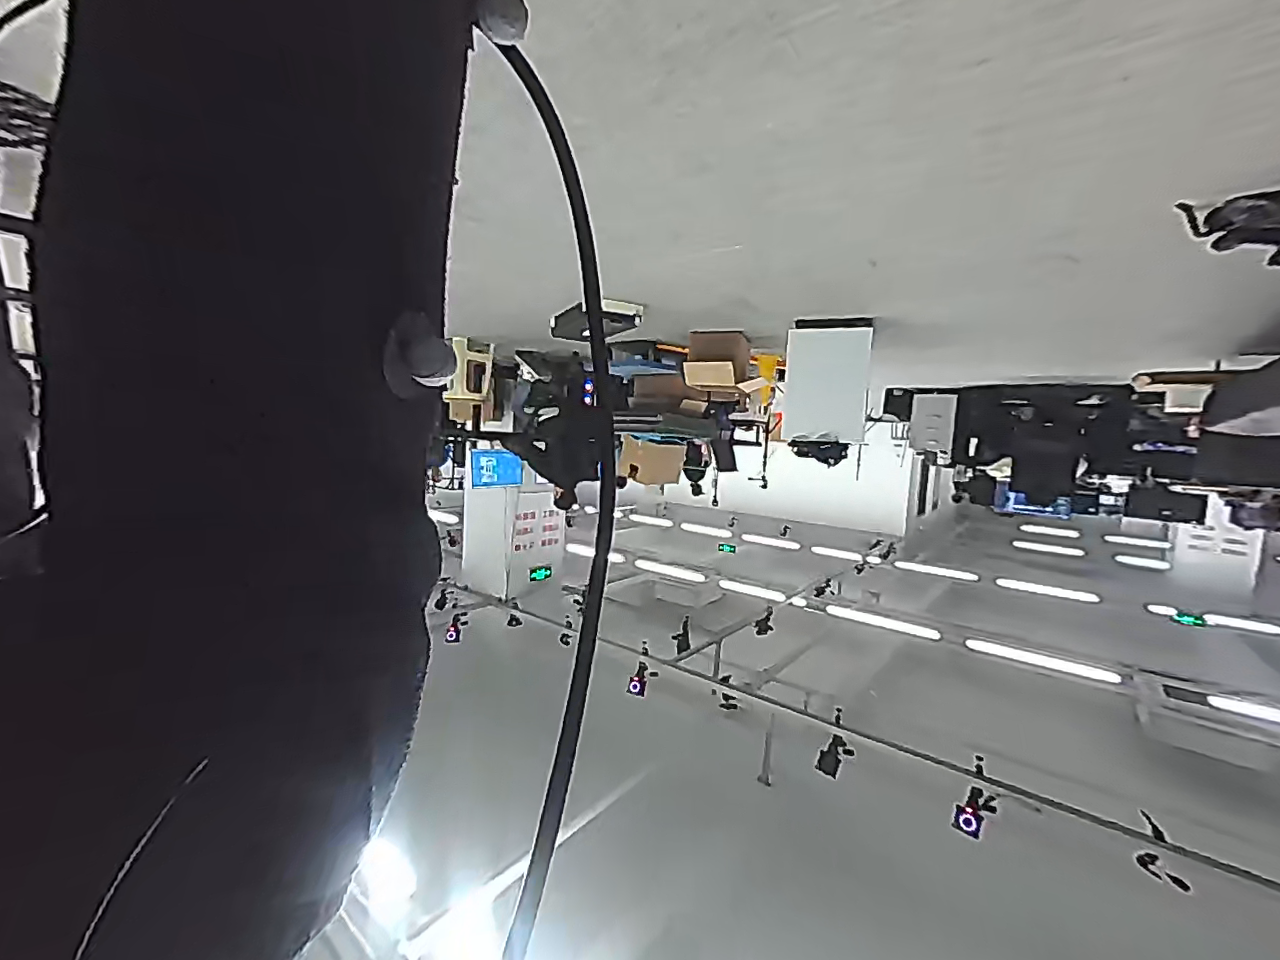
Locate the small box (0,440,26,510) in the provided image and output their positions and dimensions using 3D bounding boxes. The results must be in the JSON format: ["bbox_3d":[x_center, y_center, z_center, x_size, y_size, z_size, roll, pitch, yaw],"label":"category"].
[{"bbox_3d":[-1.659,-0.018,1.334,0.168,0.176,0.179,6,-176,38],"label":"small box"}]
